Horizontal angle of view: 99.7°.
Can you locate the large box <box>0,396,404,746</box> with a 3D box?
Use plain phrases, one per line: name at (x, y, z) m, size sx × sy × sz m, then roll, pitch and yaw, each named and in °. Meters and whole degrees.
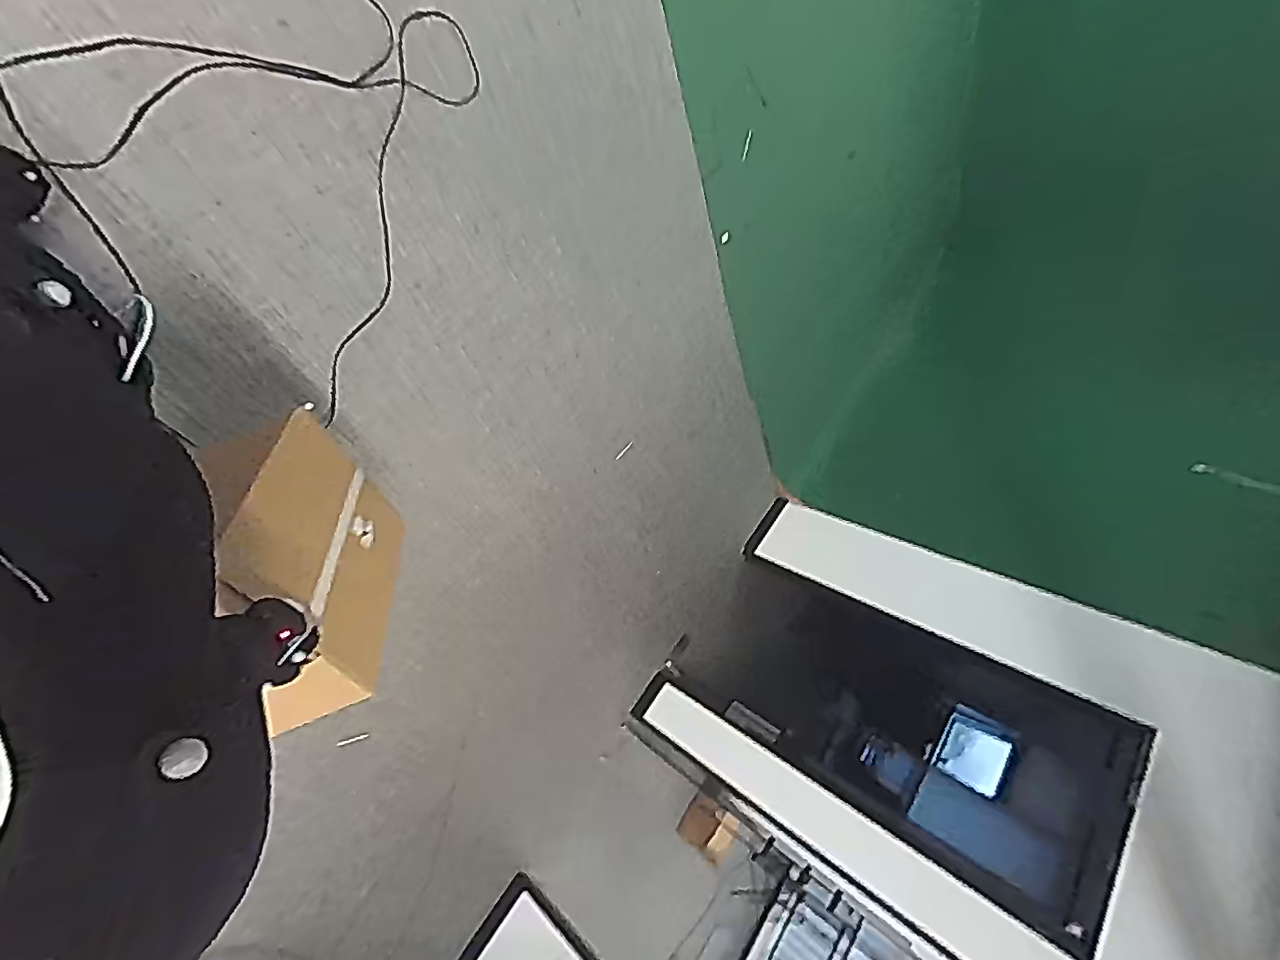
large box at (-0.633, 0.137, 0.883) m, size 0.320 × 0.408 × 0.320 m, roll -23°, pitch 129°, yaw 1°
